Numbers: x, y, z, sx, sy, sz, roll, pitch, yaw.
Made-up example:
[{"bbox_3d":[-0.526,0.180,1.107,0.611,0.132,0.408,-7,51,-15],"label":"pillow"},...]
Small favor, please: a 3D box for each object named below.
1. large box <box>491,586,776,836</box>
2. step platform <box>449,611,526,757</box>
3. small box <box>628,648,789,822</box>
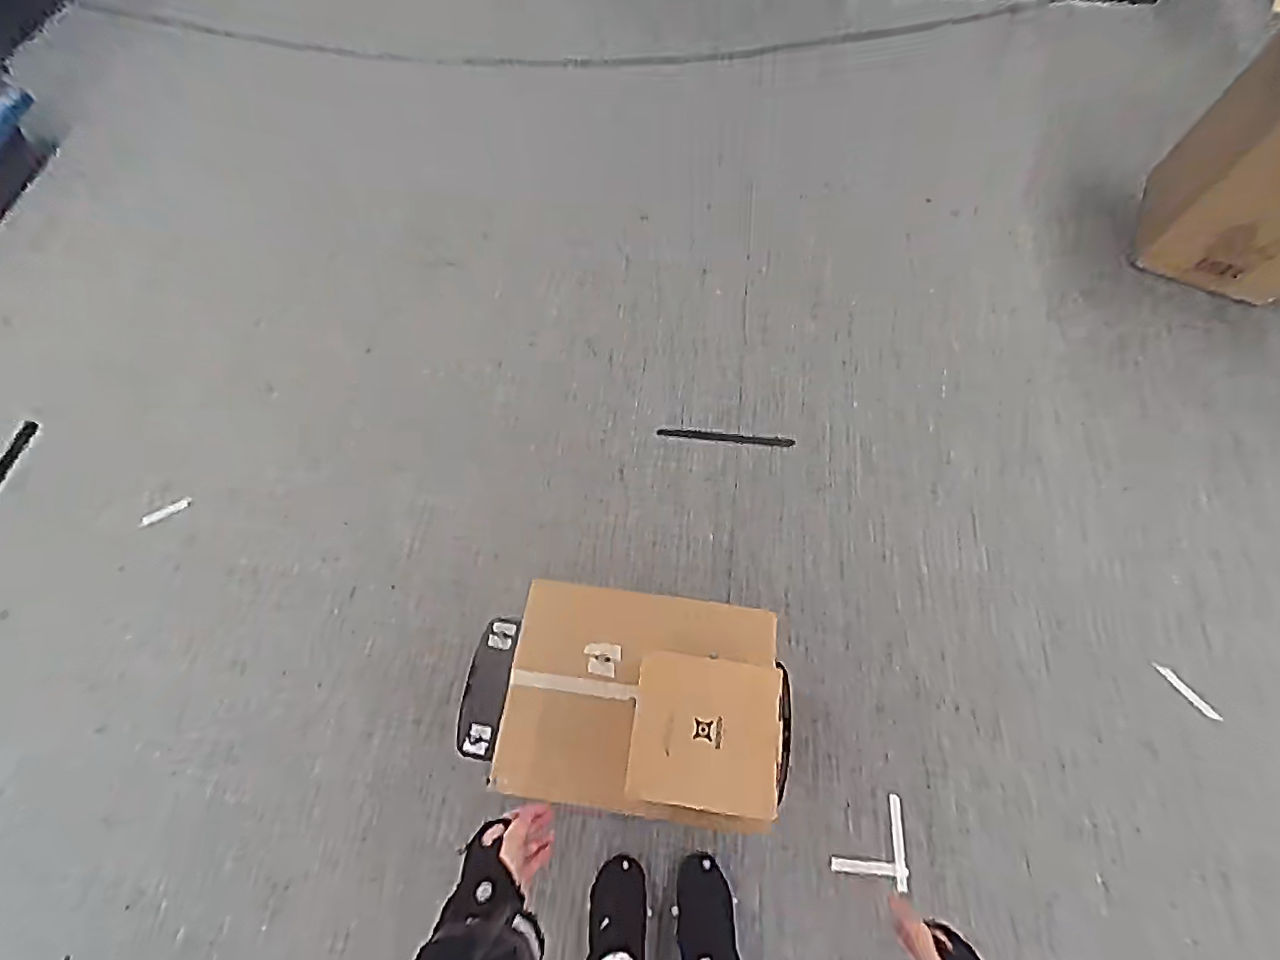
[{"bbox_3d":[0.008,0.389,0.947,0.408,0.320,0.320,6,65,5],"label":"large box"},{"bbox_3d":[-0.045,0.497,1.161,0.684,0.204,0.286,12,66,7],"label":"step platform"},{"bbox_3d":[0.085,0.324,0.706,0.179,0.176,0.168,7,67,5],"label":"small box"}]
